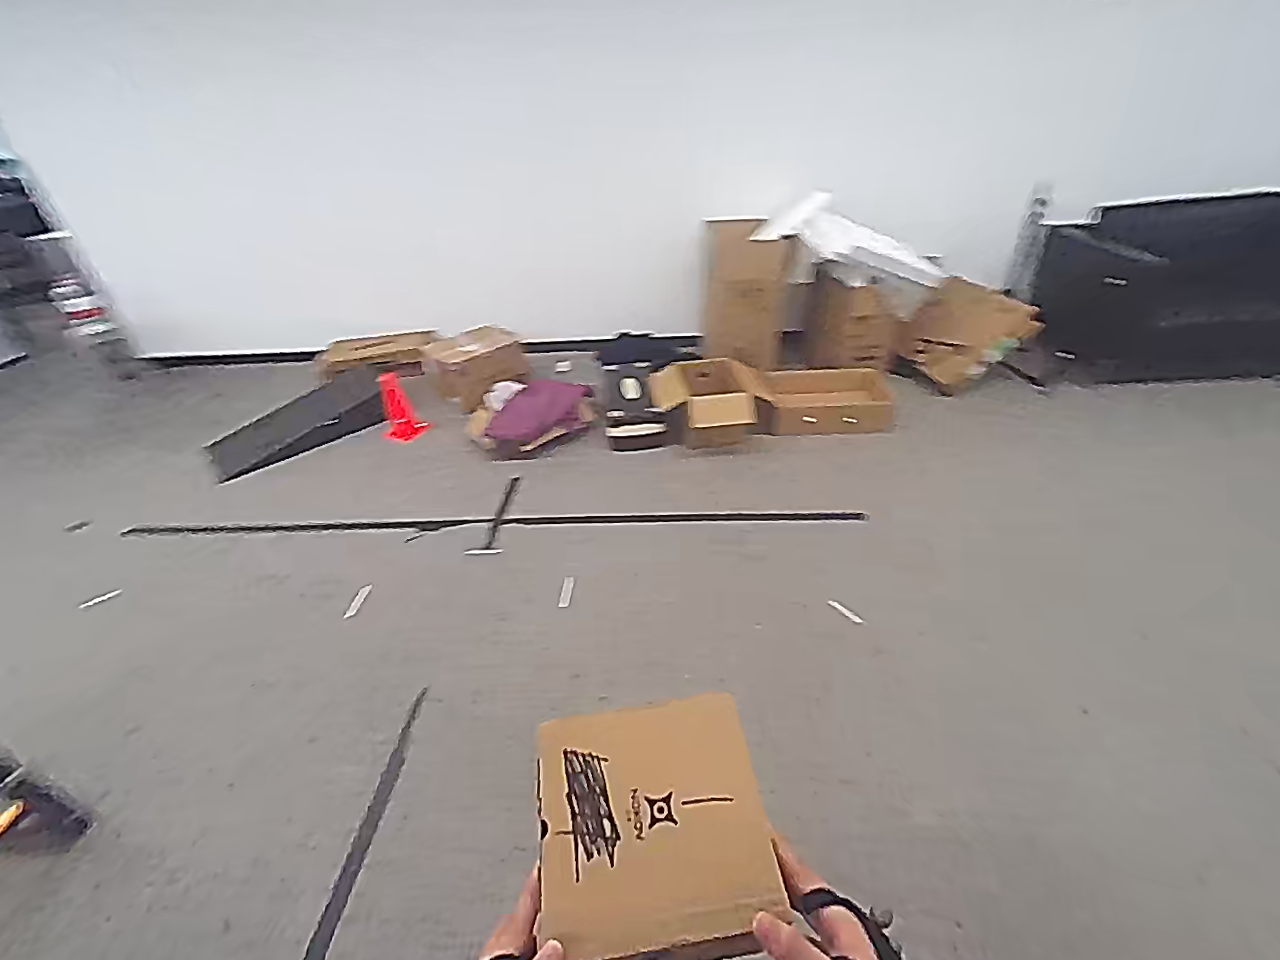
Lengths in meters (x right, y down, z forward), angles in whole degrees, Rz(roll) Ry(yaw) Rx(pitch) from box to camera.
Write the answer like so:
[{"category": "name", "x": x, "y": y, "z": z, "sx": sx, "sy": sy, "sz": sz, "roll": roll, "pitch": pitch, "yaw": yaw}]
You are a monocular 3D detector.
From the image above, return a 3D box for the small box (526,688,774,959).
[{"category": "small box", "x": 0.001, "y": 0.314, "z": 0.481, "sx": 0.179, "sy": 0.176, "sz": 0.168, "roll": -8, "pitch": 44, "yaw": -6}]
